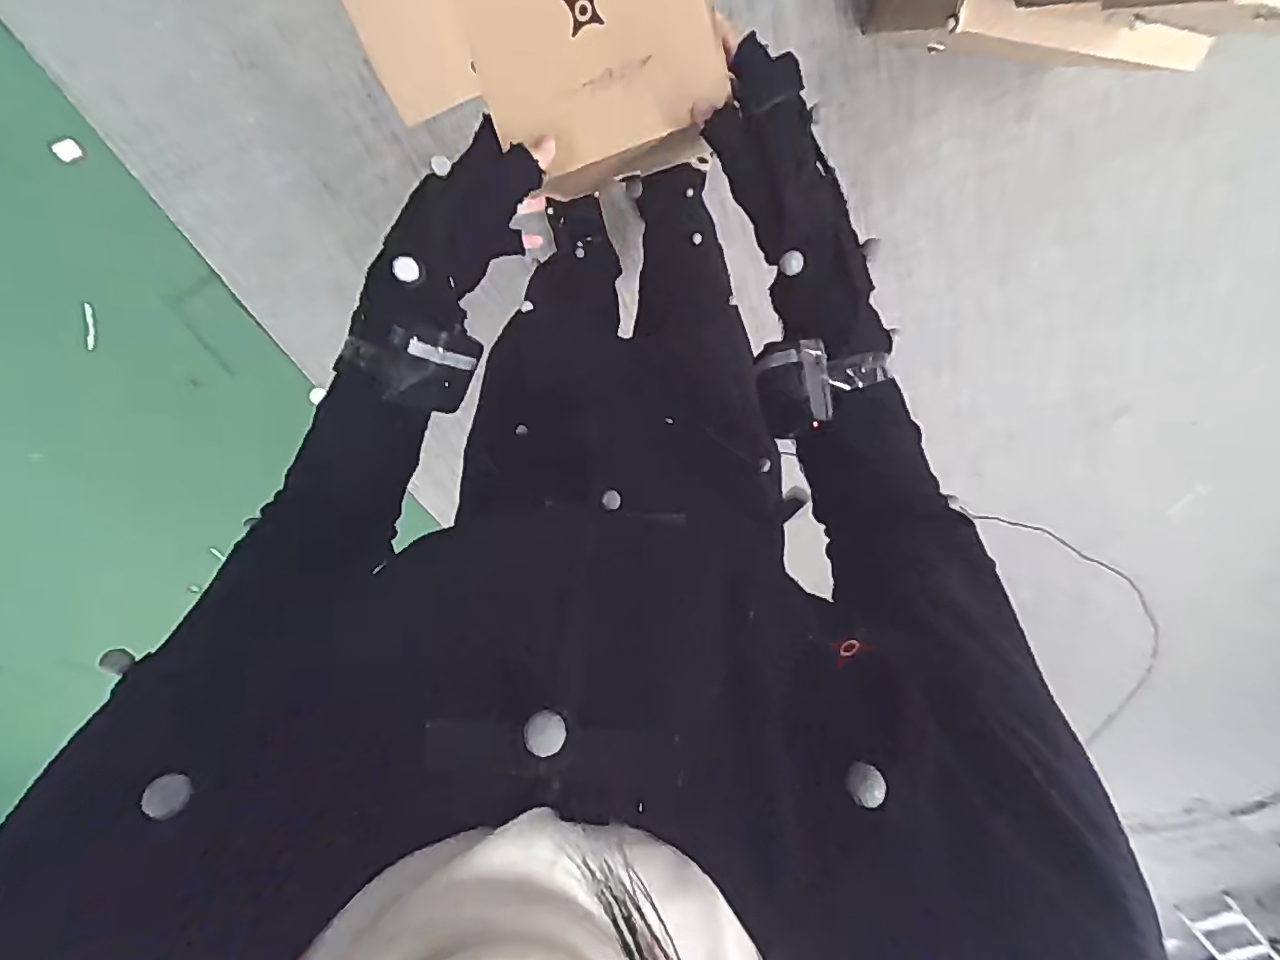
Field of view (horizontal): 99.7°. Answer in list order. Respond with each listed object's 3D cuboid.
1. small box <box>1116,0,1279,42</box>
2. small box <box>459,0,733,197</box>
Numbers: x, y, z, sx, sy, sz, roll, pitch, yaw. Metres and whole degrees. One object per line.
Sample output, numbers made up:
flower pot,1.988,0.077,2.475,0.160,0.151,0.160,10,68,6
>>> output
small box,0.625,-0.548,0.523,0.168,0.176,0.179,4,126,-8
small box,-0.027,-0.349,0.431,0.168,0.176,0.179,-13,111,14
